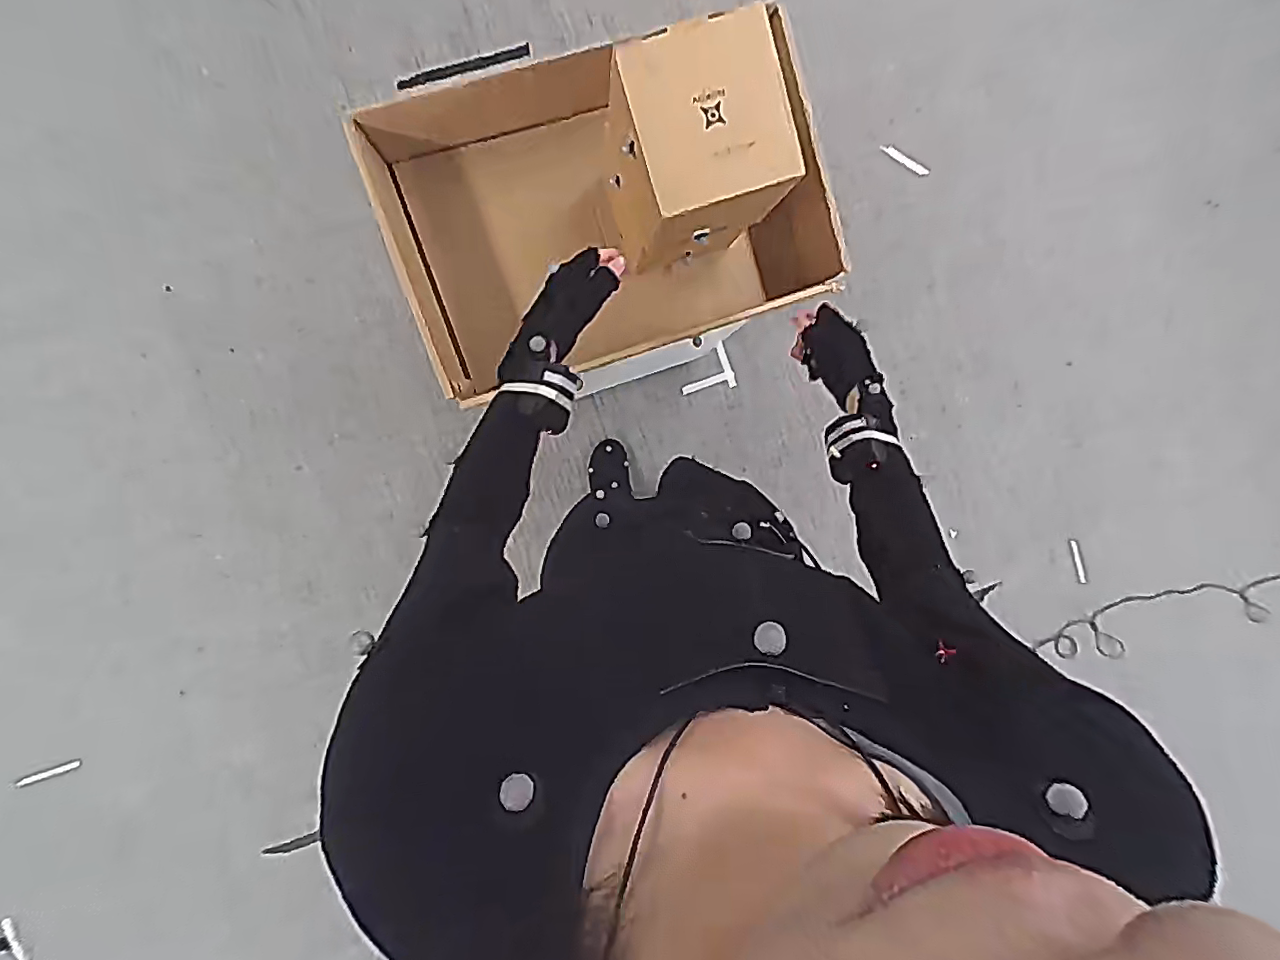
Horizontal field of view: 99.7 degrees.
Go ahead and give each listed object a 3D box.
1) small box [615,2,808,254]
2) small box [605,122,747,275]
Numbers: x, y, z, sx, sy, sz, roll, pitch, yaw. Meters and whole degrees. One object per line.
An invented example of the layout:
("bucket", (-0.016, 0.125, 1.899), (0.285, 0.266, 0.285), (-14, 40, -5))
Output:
("small box", (0.072, -0.397, 0.643), (0.168, 0.176, 0.179), (-19, 100, -1))
("small box", (0.056, -0.426, 0.804), (0.179, 0.176, 0.168), (-19, 99, -3))
